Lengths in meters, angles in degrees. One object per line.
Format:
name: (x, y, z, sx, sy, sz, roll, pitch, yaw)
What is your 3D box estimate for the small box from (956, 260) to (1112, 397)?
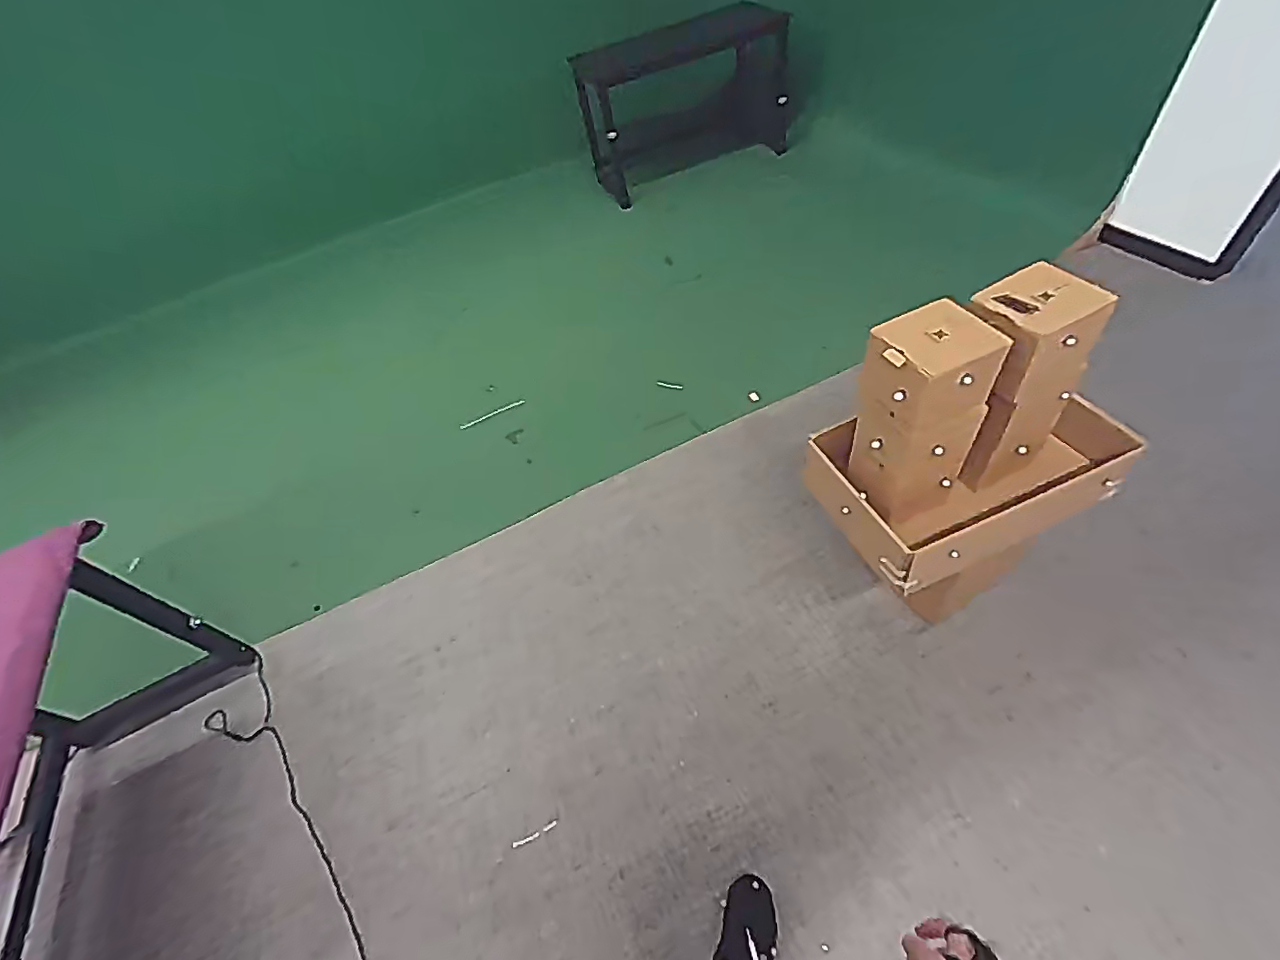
small box: (0.761, -0.296, 1.073, 0.179, 0.176, 0.168, -28, 50, -6)

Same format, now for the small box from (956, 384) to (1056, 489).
small box: (0.856, -0.111, 1.329, 0.179, 0.176, 0.168, -27, 51, -4)

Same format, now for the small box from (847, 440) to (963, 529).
small box: (0.623, -0.015, 1.299, 0.179, 0.176, 0.168, -23, 49, -6)

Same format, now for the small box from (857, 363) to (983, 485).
small box: (0.594, -0.116, 1.176, 0.179, 0.176, 0.168, -23, 50, -5)
